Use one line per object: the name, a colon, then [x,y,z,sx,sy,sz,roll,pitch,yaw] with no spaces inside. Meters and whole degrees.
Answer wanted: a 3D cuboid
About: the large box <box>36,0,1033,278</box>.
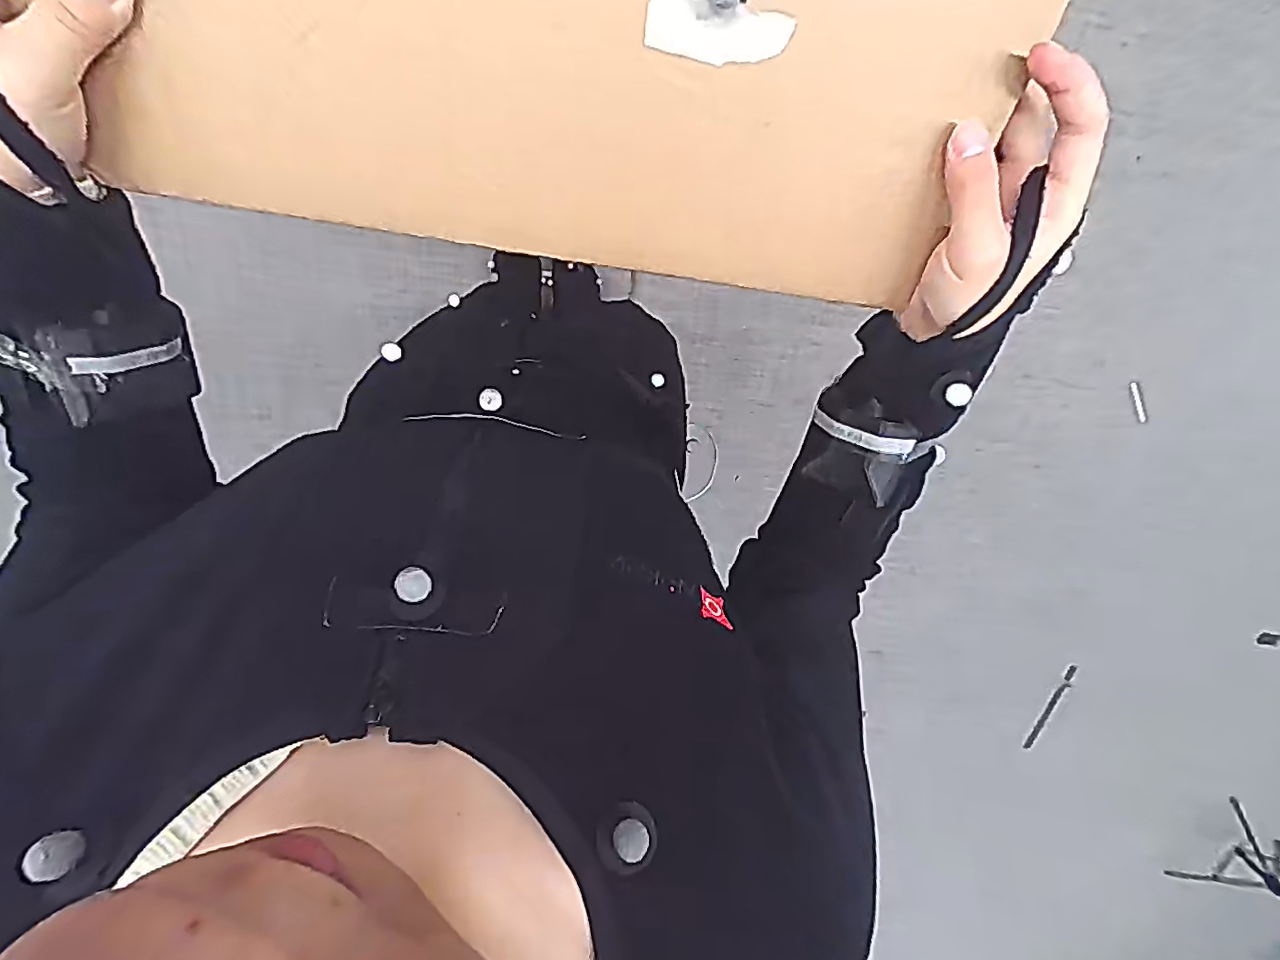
large box: [-0.034,-0.339,0.295,0.408,0.320,0.320,6,130,-8]
